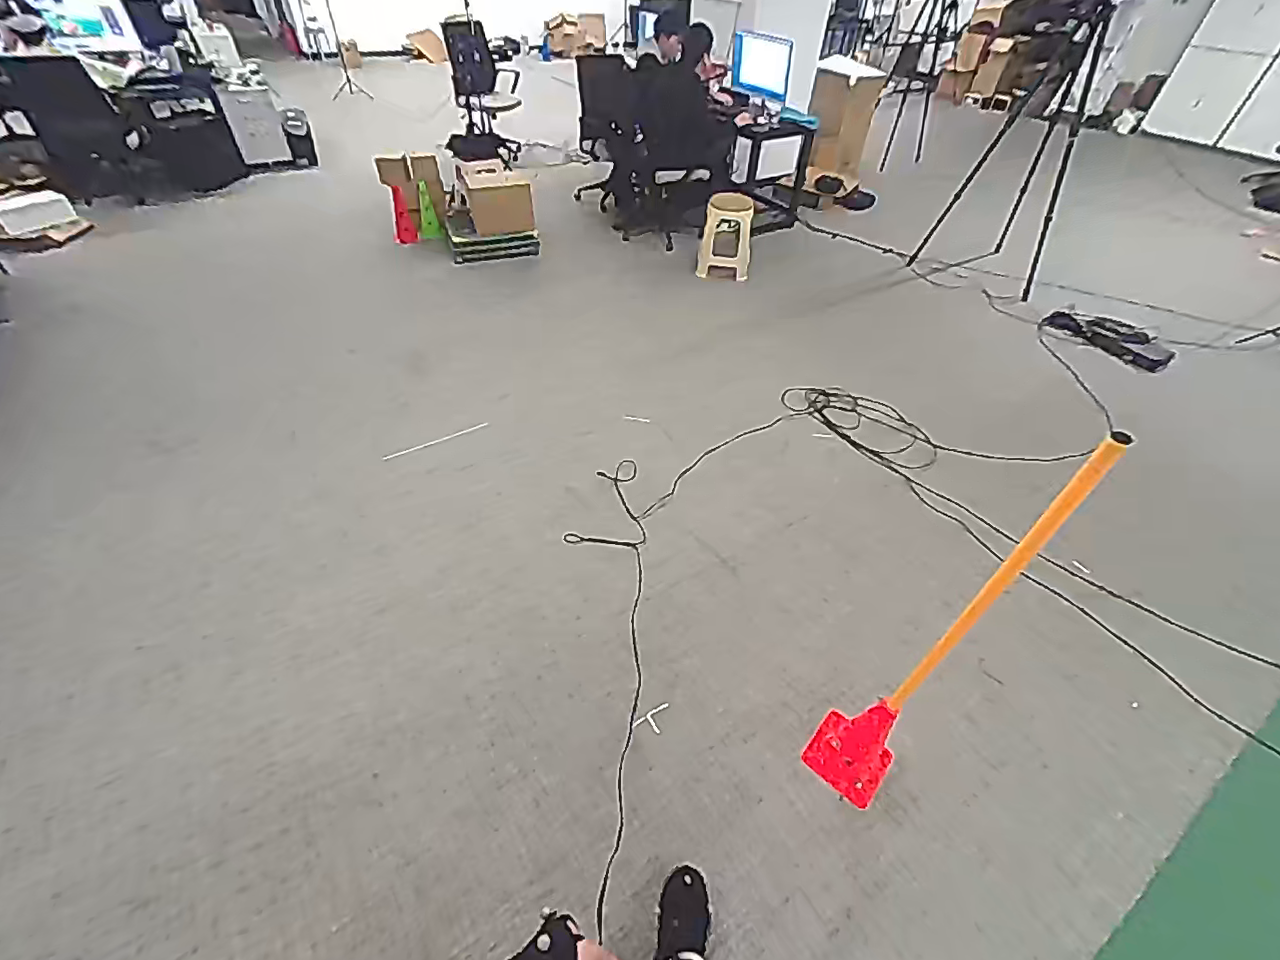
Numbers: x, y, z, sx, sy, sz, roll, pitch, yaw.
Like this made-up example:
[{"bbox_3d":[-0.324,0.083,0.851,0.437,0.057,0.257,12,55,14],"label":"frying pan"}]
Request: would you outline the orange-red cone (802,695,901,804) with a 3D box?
[{"bbox_3d":[0.592,0.652,1.408,0.198,0.360,0.199,35,52,27],"label":"orange-red cone"}]
